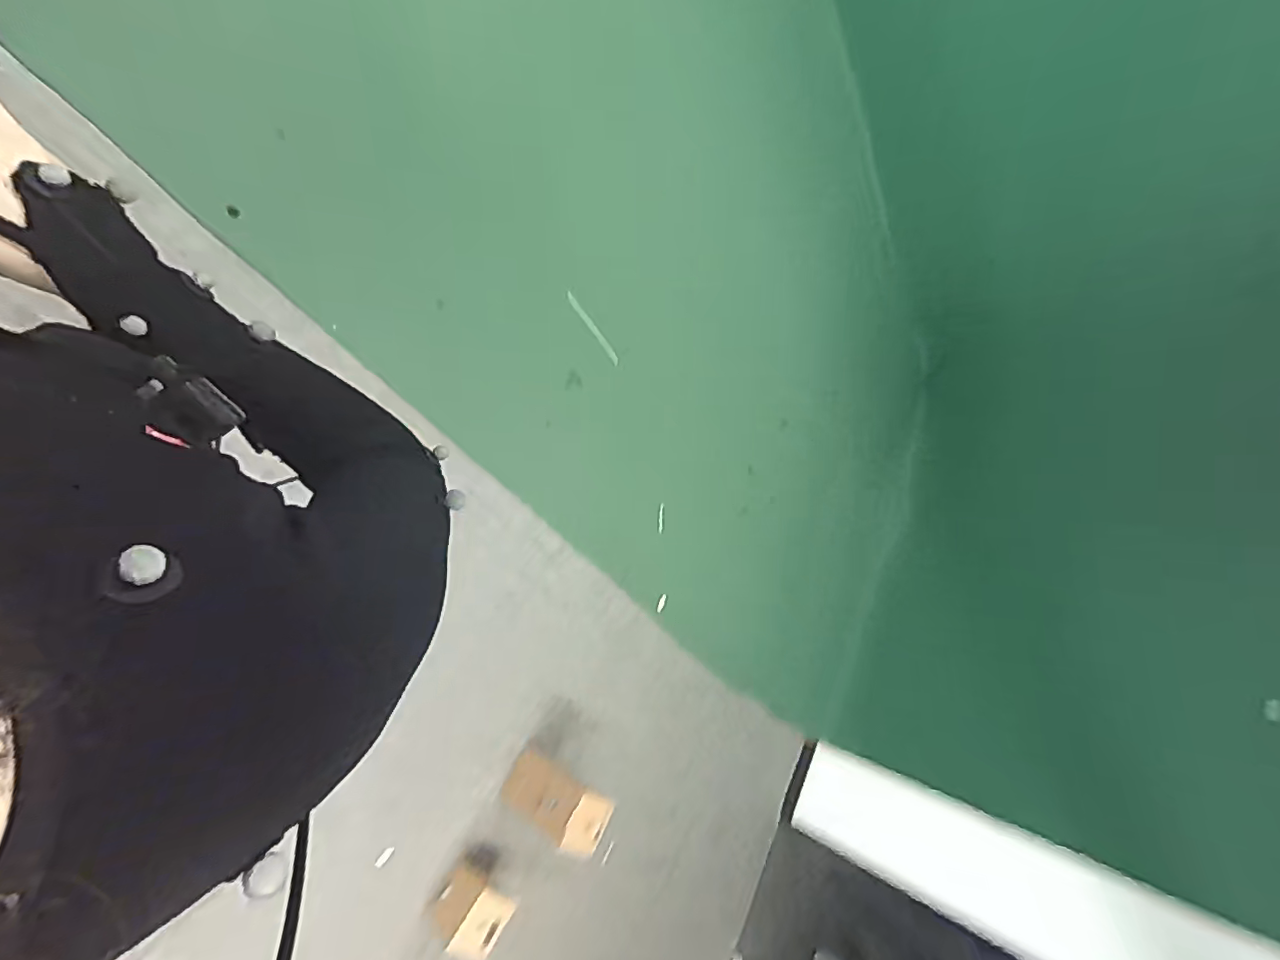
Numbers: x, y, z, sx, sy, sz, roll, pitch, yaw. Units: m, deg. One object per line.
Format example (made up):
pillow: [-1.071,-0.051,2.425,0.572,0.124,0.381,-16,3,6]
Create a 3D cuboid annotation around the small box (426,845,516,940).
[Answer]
small box: [-0.539,1.309,1.722,0.168,0.176,0.179,-54,129,-26]
